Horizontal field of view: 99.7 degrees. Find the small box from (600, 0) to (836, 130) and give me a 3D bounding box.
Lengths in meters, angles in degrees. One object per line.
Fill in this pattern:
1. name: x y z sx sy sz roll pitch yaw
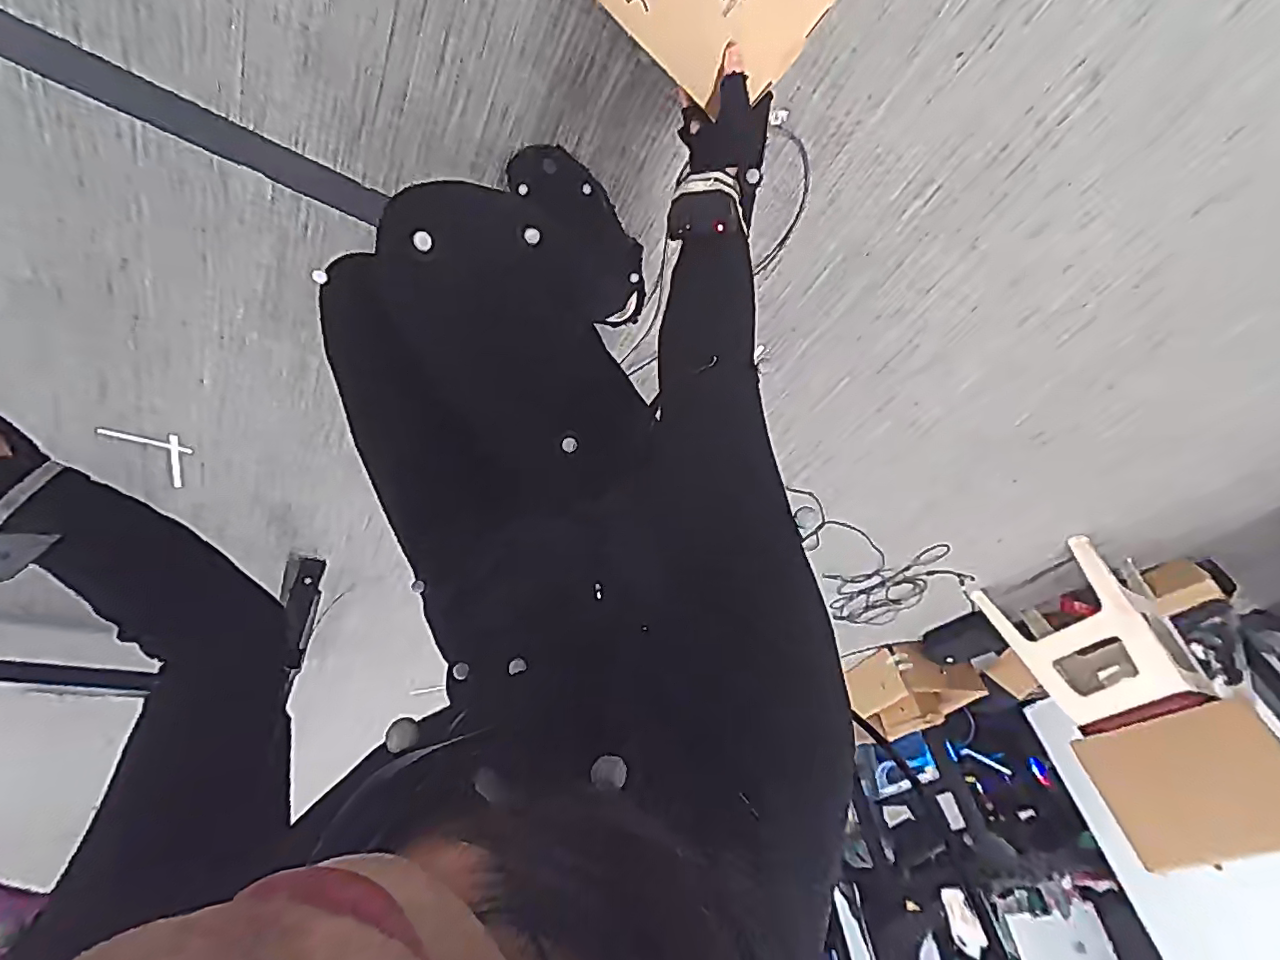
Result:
1. small box: 0.071 -0.503 0.534 0.179 0.176 0.168 24 129 -32
